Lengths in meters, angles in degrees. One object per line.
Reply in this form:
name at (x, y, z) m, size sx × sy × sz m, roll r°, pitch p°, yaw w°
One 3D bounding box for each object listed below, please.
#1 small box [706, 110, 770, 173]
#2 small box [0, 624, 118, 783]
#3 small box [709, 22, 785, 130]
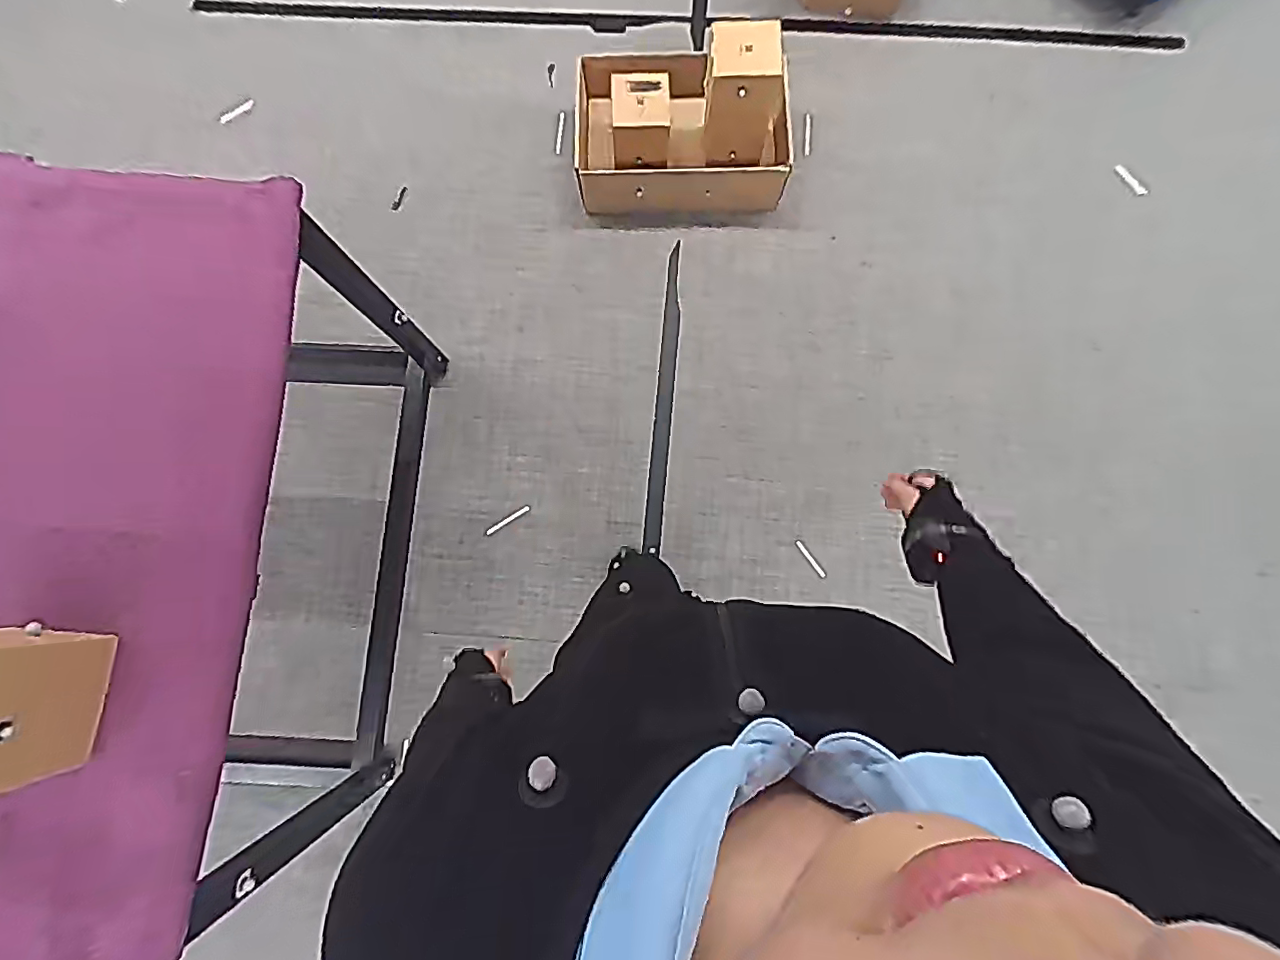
small box at (0.286, -1.041, 1.601) m, size 0.168 × 0.176 × 0.179 m, roll 1°, pitch 79°, yaw 1°
small box at (-0.842, 0.289, 0.698) m, size 0.168 × 0.176 × 0.179 m, roll 4°, pitch 79°, yaw 2°
small box at (0.279, -1.068, 1.441) m, size 0.179 × 0.176 × 0.168 m, roll 0°, pitch 80°, yaw 2°
